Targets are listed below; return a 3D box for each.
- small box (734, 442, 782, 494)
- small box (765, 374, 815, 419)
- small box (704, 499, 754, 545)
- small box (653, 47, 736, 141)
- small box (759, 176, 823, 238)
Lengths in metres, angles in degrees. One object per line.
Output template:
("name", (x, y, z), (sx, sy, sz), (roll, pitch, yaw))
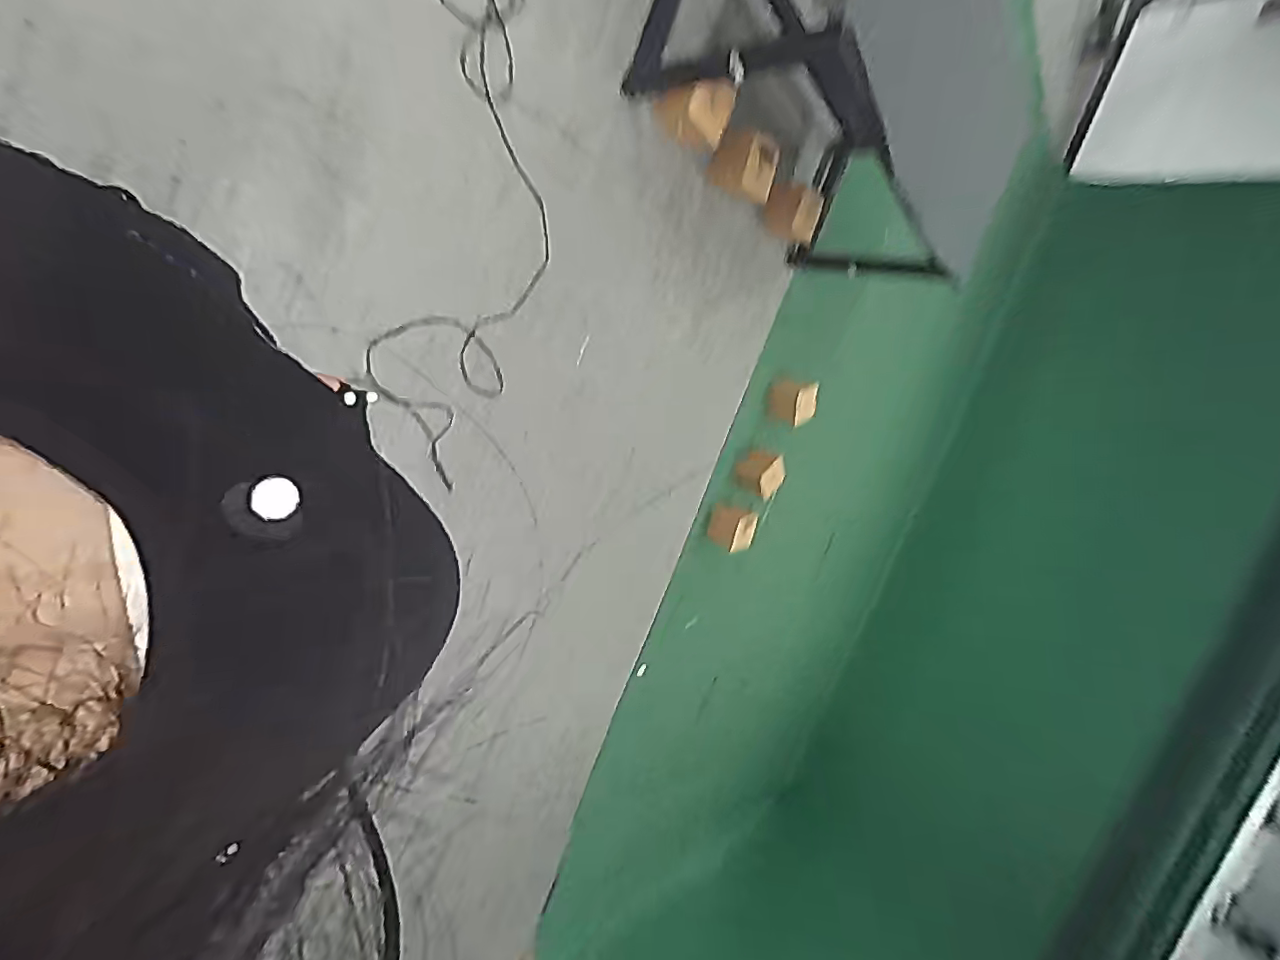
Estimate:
("small box", (0.592, -0.066, 2.746), (0.179, 0.176, 0.168), (-46, 137, -20))
("small box", (0.757, -0.426, 2.728), (0.179, 0.176, 0.168), (-27, 127, -36))
("small box", (0.448, 0.206, 2.739), (0.168, 0.176, 0.179), (-8, 117, -43))
("small box", (0.166, -1.207, 1.709), (0.168, 0.176, 0.179), (20, 95, -49))
("small box", (0.614, -1.116, 2.212), (0.168, 0.176, 0.179), (7, 105, -48))
